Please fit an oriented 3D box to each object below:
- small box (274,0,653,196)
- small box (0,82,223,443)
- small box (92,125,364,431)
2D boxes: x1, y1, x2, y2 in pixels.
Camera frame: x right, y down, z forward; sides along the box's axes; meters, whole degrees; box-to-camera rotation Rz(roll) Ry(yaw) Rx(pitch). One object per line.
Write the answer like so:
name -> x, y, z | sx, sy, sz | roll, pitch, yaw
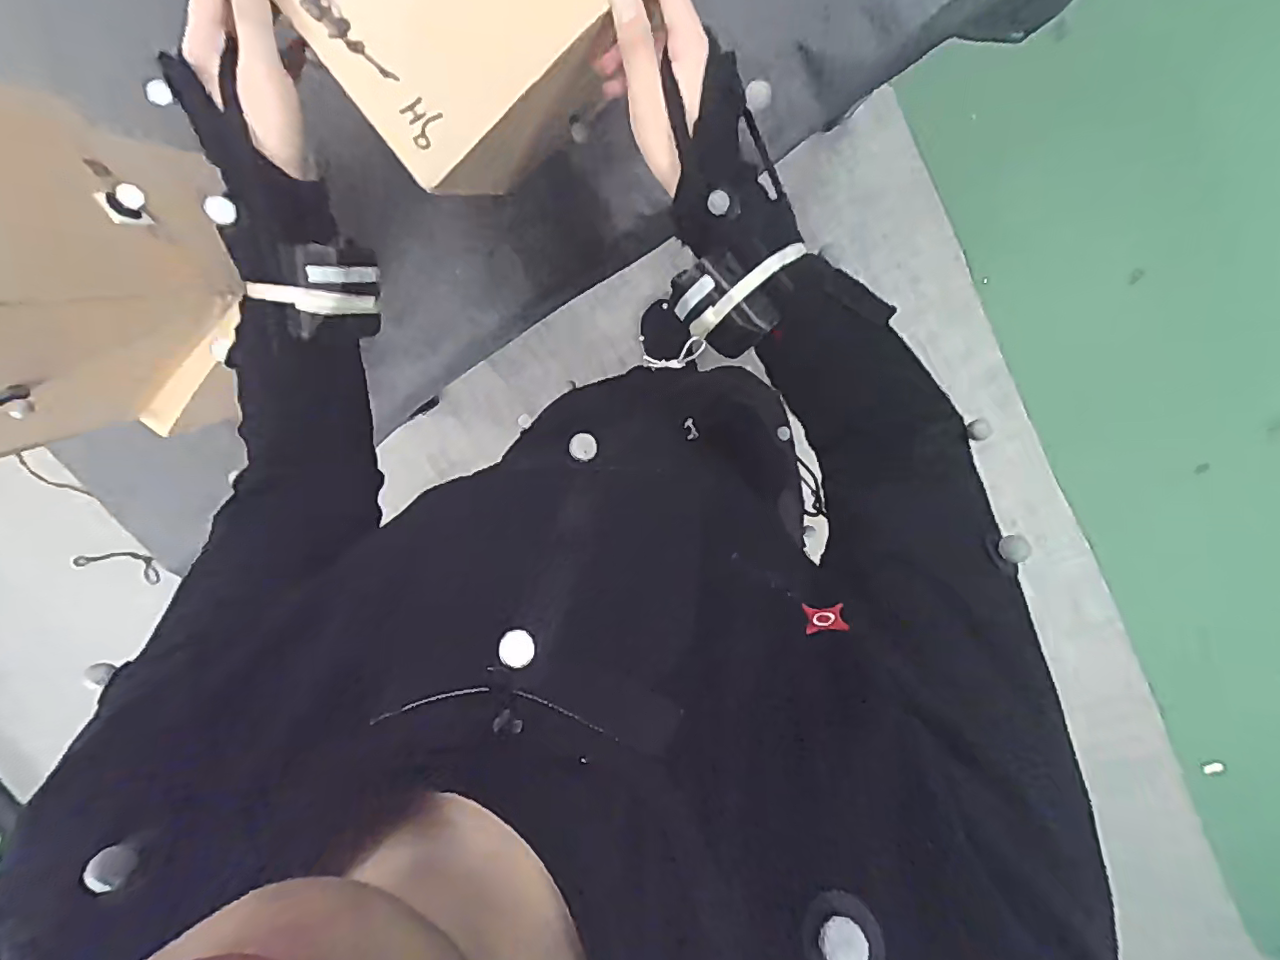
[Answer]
small box -> -0.104, -0.318, 0.353 | 0.179, 0.176, 0.168 | -31, 111, 21
small box -> -0.428, -0.131, 0.345 | 0.179, 0.176, 0.168 | -36, 105, 17
small box -> -0.407, -0.178, 0.500 | 0.168, 0.176, 0.179 | -40, 104, 19
